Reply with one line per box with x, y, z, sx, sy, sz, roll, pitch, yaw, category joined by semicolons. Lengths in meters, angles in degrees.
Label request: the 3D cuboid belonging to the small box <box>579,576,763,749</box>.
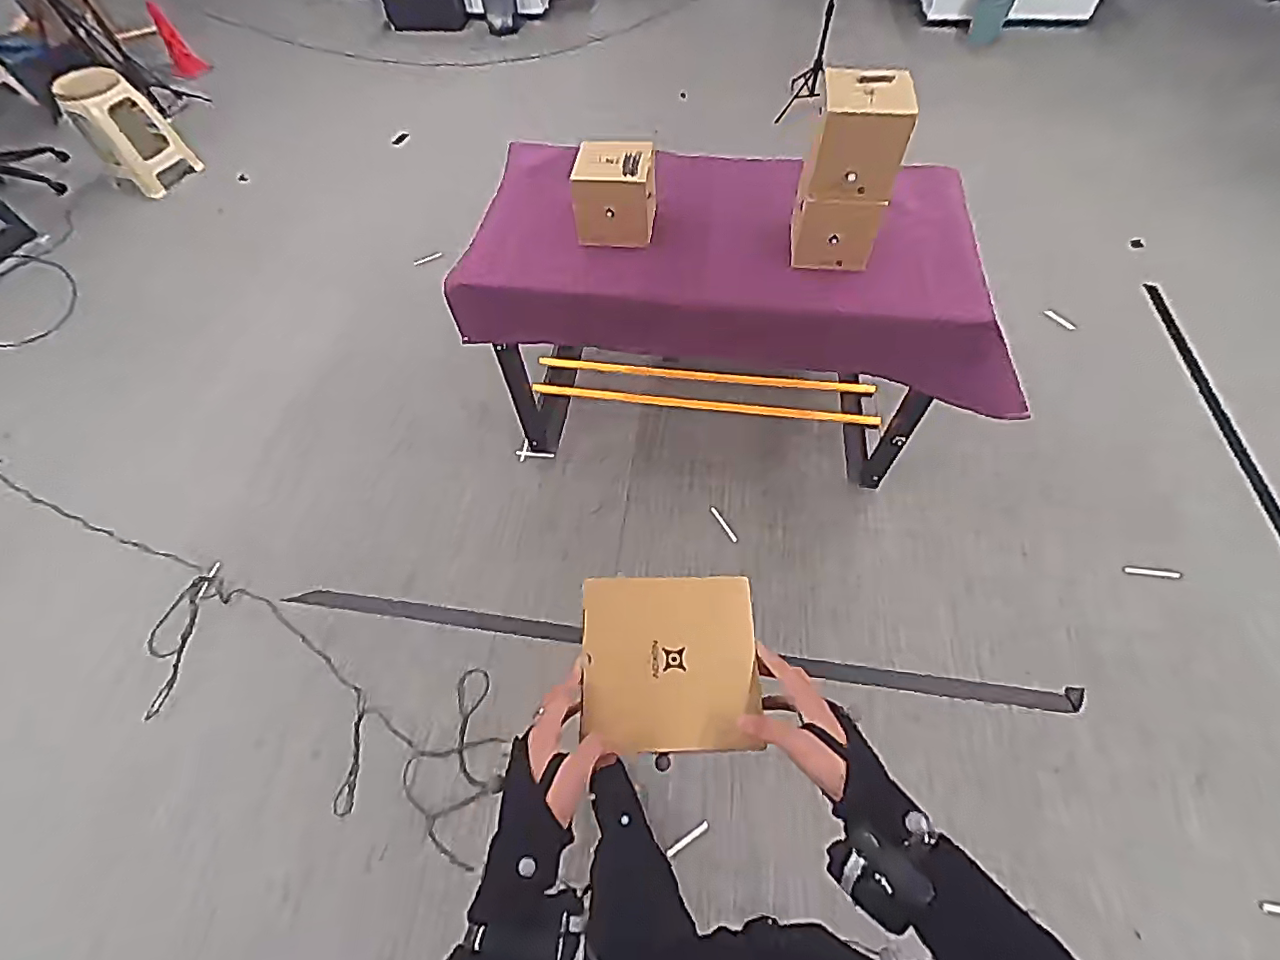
0.028;0.209;0.610;0.179;0.176;0.168;-1;65;0;small box

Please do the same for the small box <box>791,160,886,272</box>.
0.446;-0.600;1.239;0.168;0.176;0.179;6;59;6;small box

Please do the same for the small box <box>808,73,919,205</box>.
0.443;-0.694;1.104;0.168;0.176;0.179;6;59;6;small box
